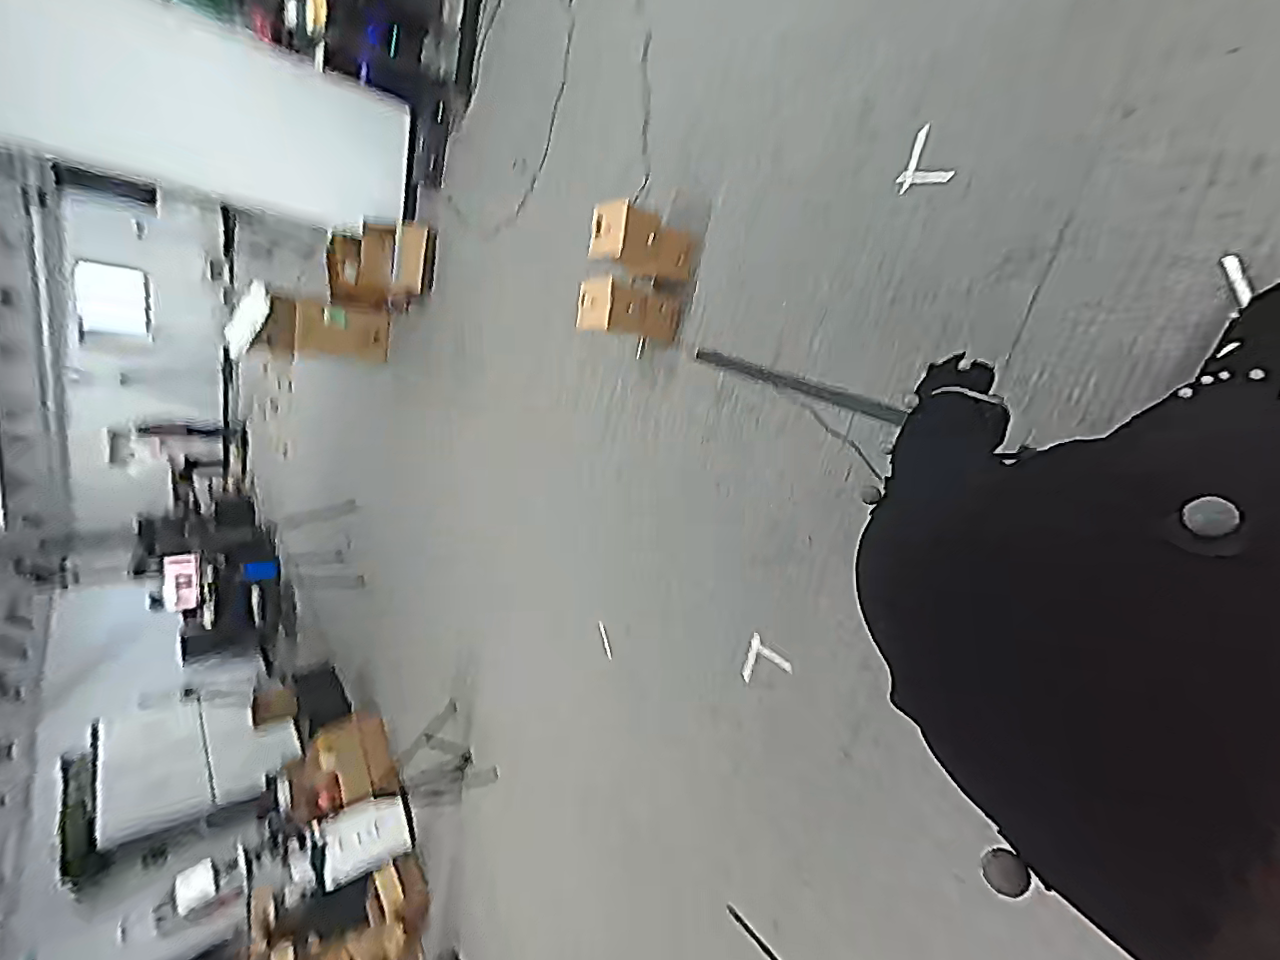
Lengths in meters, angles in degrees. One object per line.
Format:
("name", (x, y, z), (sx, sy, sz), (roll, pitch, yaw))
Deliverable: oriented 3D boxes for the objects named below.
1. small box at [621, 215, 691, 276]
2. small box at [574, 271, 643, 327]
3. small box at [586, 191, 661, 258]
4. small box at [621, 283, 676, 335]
("small box", (0.059, -0.848, 1.972), (0.179, 0.176, 0.168), (19, 106, 43))
("small box", (-0.109, -0.641, 1.921), (0.179, 0.176, 0.168), (19, 105, 43))
("small box", (-0.057, -0.868, 1.854), (0.179, 0.176, 0.168), (20, 107, 42))
("small box", (0.012, -0.645, 2.032), (0.179, 0.176, 0.168), (24, 109, 43))
